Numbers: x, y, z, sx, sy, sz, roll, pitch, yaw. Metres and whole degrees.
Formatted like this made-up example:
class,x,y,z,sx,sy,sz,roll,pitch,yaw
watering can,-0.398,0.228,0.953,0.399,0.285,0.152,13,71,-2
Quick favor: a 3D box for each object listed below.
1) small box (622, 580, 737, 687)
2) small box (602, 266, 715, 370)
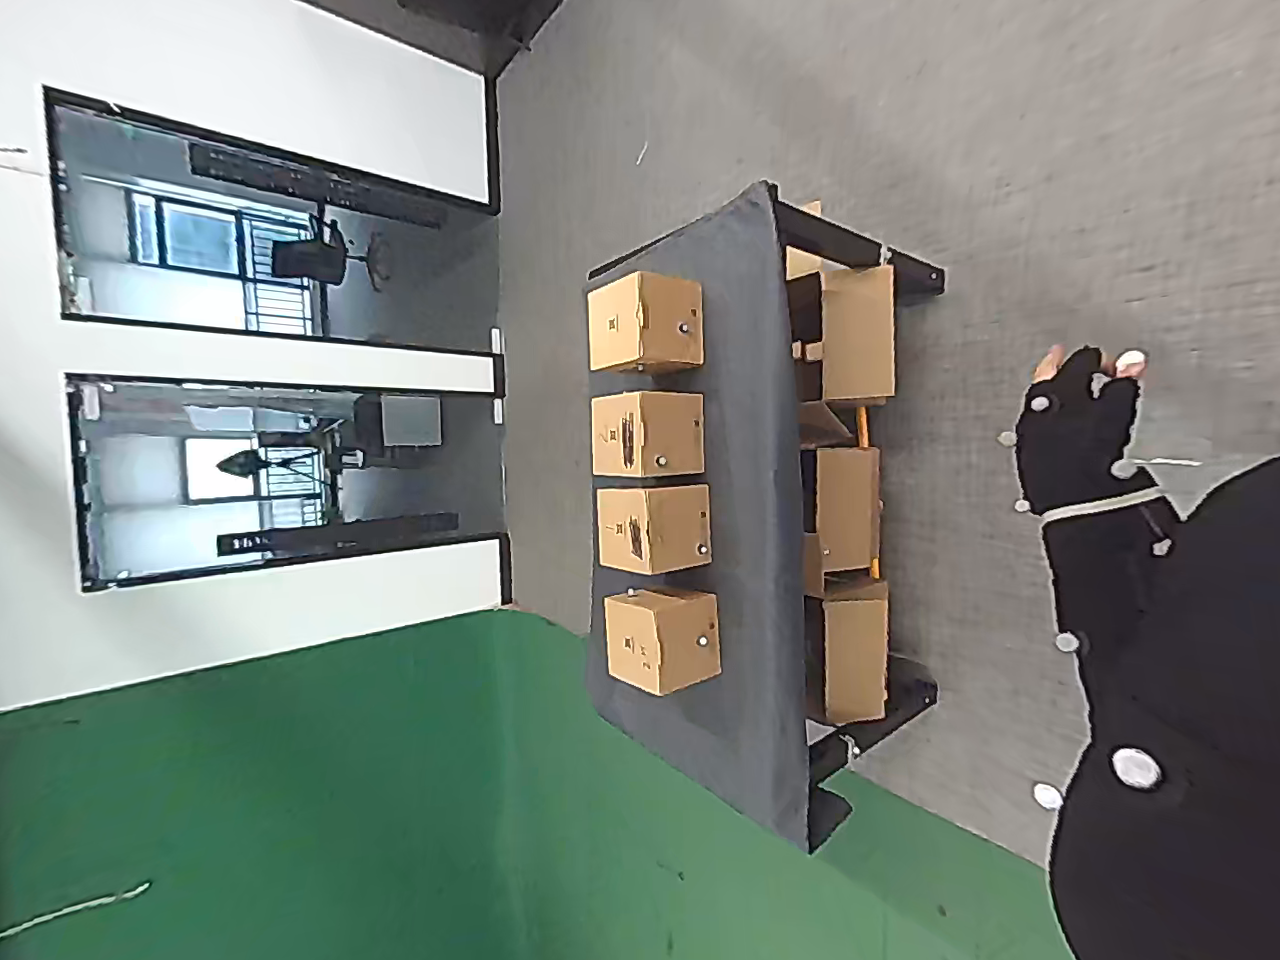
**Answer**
class,x,y,z,sx,sy,sz,roll,pitch,yaw
small box,0.082,0.312,1.142,0.179,0.176,0.168,-4,91,53
small box,0.038,-0.328,1.134,0.179,0.176,0.168,1,95,53
